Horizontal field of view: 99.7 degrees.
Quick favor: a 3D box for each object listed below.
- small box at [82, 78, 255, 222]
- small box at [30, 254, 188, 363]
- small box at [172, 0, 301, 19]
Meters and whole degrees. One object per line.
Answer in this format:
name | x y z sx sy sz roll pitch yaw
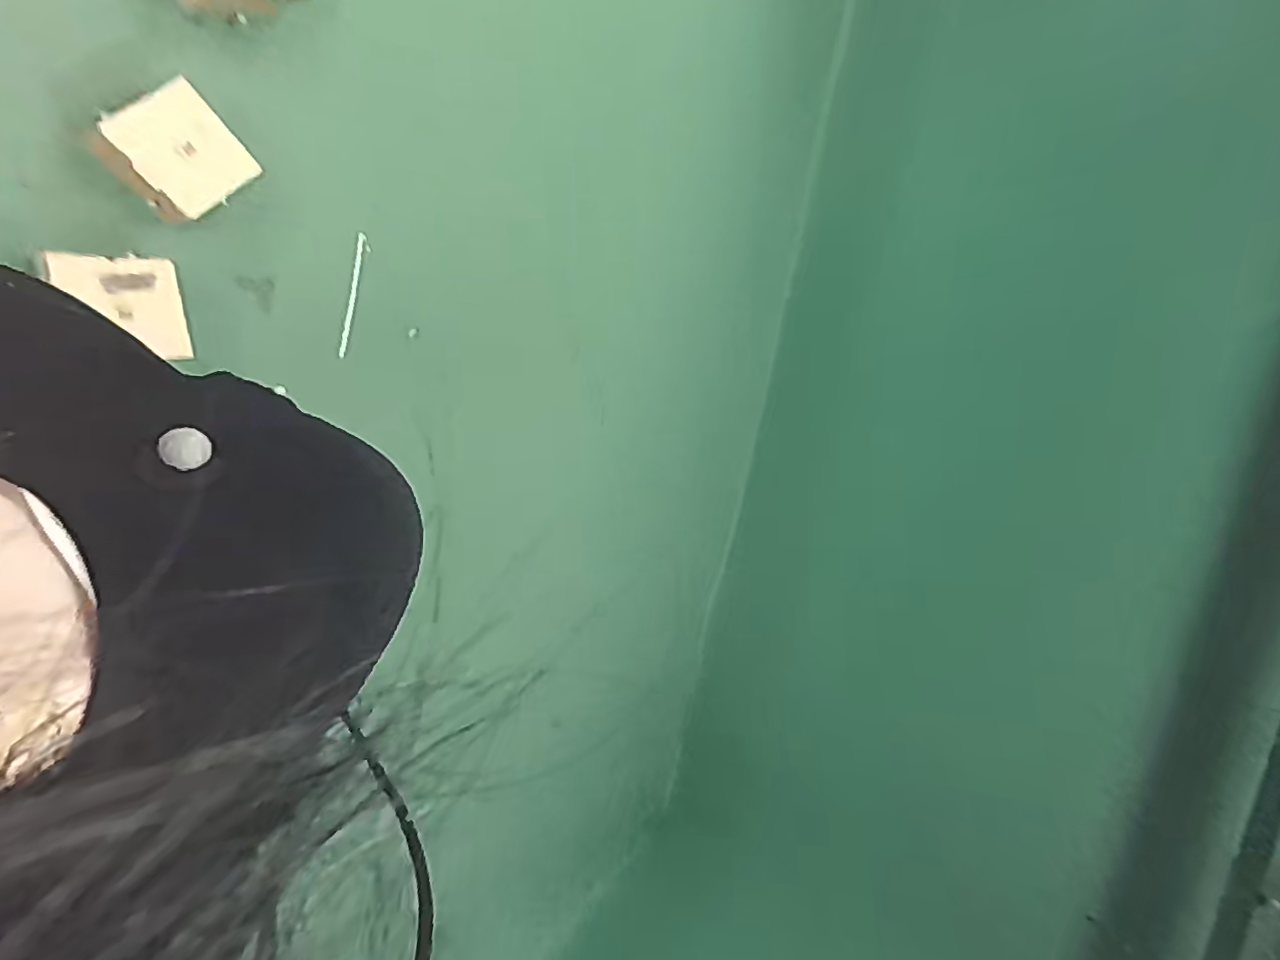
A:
small box | -0.889 -0.609 1.019 0.179 0.176 0.168 -58 142 -23
small box | -0.982 -0.316 1.001 0.168 0.176 0.179 -19 119 -48
small box | -0.787 -0.993 1.012 0.179 0.176 0.168 -39 131 -40
